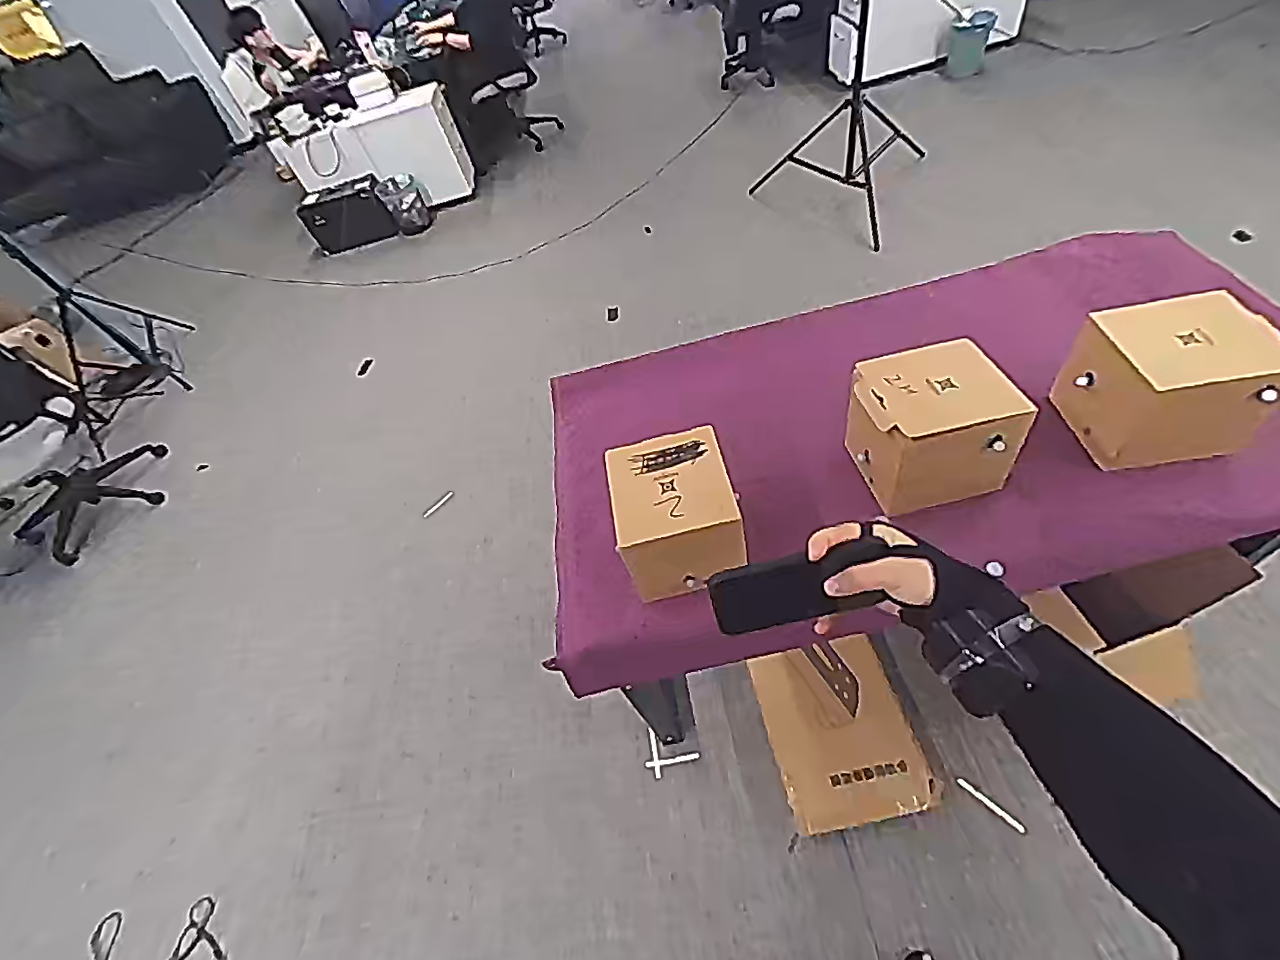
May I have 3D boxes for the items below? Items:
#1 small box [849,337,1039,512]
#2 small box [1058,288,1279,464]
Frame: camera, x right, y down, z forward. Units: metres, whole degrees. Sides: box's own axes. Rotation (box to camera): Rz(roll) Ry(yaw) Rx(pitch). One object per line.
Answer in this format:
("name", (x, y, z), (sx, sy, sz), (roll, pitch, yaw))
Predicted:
("small box", (0.429, -0.078, 0.802), (0.179, 0.176, 0.168), (-15, 48, 4))
("small box", (0.740, -0.140, 0.768), (0.179, 0.176, 0.168), (-9, 51, 8))
